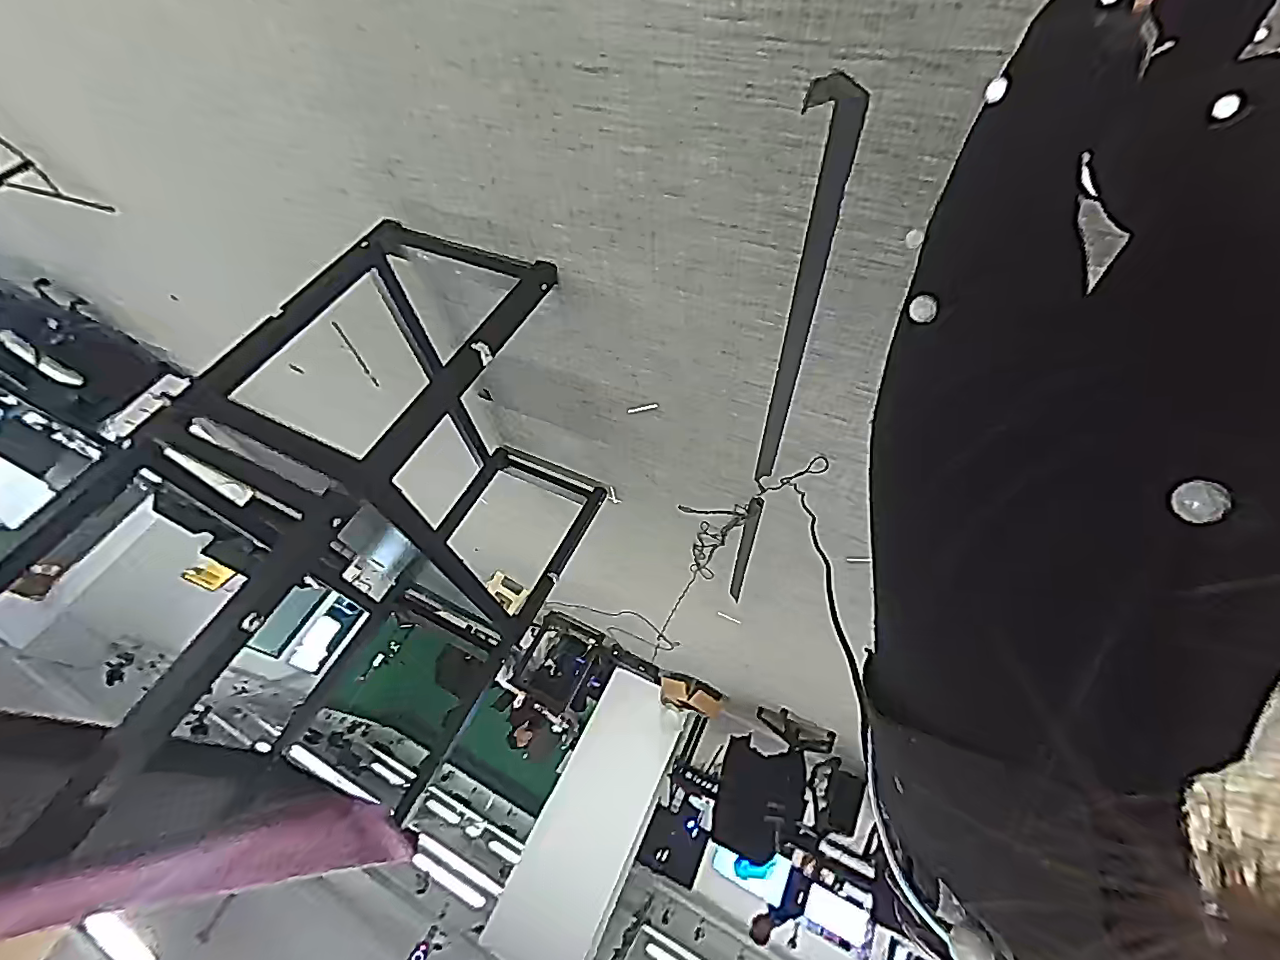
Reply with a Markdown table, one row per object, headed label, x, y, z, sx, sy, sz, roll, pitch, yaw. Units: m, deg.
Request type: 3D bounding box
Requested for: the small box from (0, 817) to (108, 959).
| label | x | y | z | sx | sy | sz | roll | pitch | yaw |
| --- | --- | --- | --- | --- | --- | --- | --- | --- | --- |
| small box | -1.062 | 0.686 | 0.893 | 0.179 | 0.176 | 0.168 | 23 | 154 | 14 |
